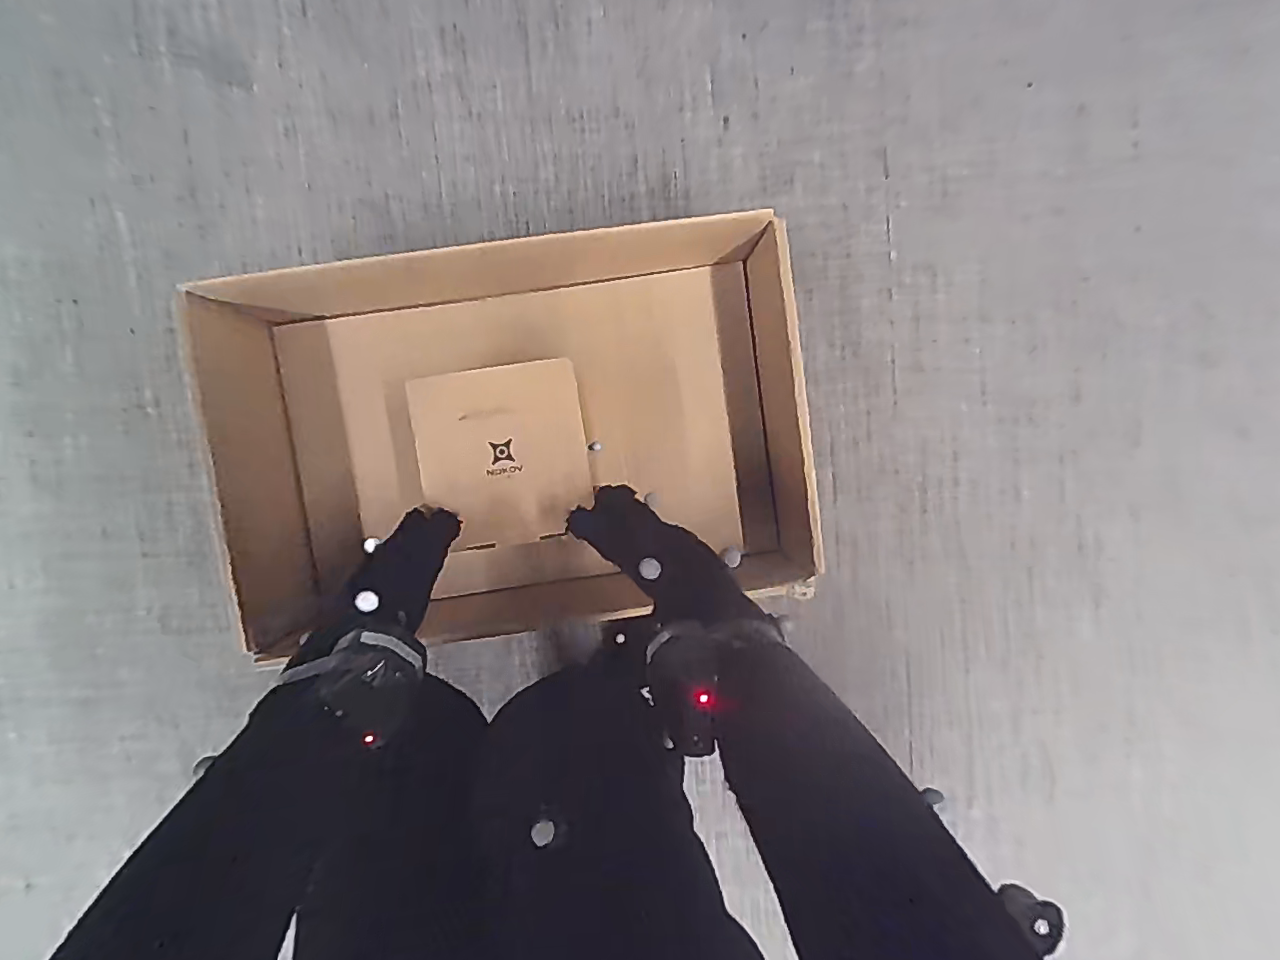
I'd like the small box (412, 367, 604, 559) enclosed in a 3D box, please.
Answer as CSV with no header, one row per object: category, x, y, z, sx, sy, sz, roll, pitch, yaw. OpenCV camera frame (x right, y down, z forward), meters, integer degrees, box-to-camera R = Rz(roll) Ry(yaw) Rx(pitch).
small box,-0.135,-0.020,0.618,0.168,0.176,0.179,-9,92,-1
